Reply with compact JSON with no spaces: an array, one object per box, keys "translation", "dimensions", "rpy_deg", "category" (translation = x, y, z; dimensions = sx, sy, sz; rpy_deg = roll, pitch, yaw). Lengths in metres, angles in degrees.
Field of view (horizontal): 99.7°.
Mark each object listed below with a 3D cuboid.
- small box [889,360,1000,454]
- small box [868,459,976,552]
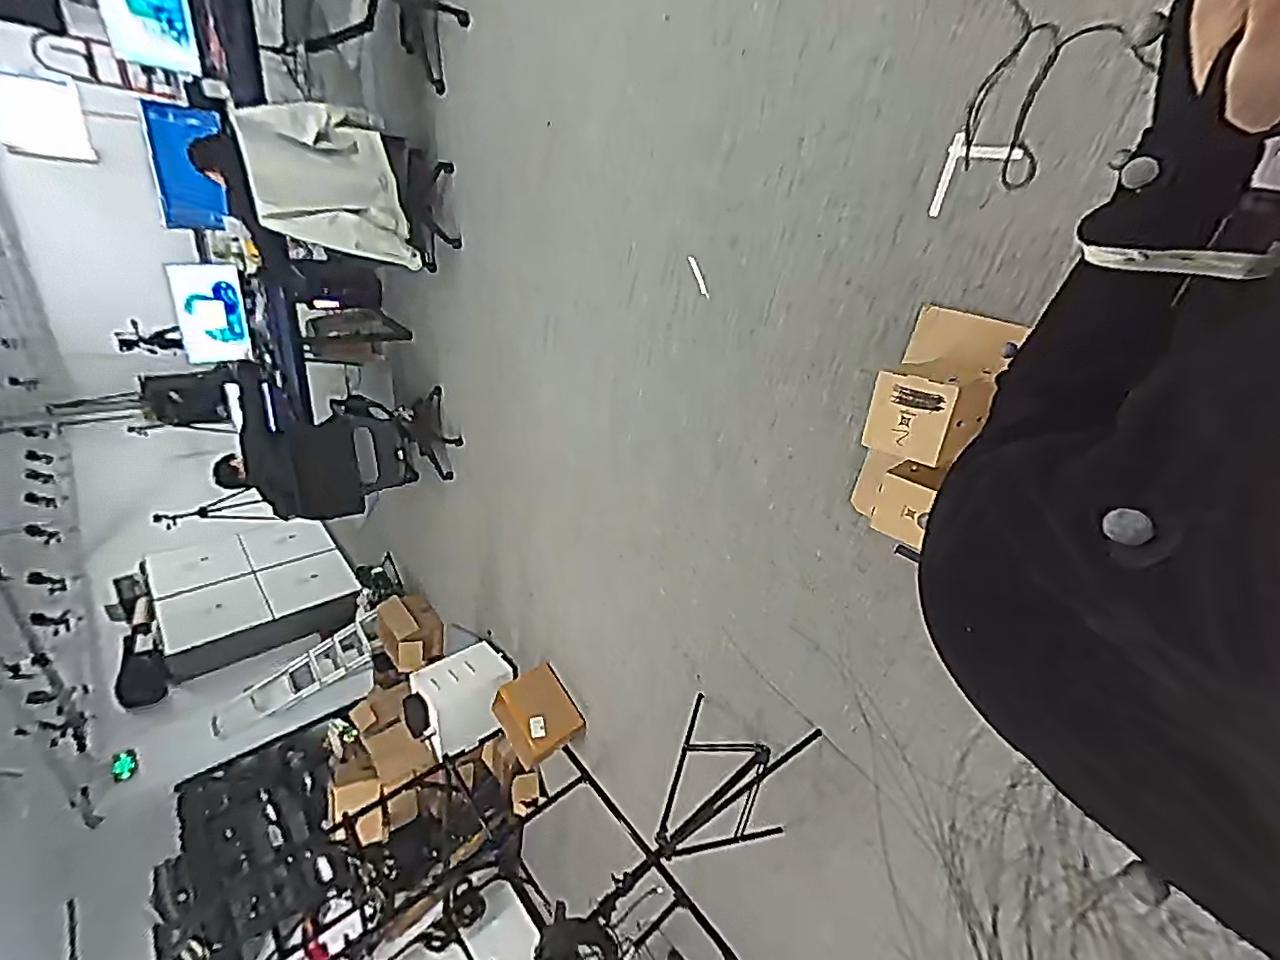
[{"translation":[0.736,-0.184,1.302],"dimensions":[0.168,0.176,0.179],"rpy_deg":[28,124,39],"category":"small box"},{"translation":[0.727,0.057,1.399],"dimensions":[0.179,0.176,0.168],"rpy_deg":[27,125,40],"category":"small box"}]
